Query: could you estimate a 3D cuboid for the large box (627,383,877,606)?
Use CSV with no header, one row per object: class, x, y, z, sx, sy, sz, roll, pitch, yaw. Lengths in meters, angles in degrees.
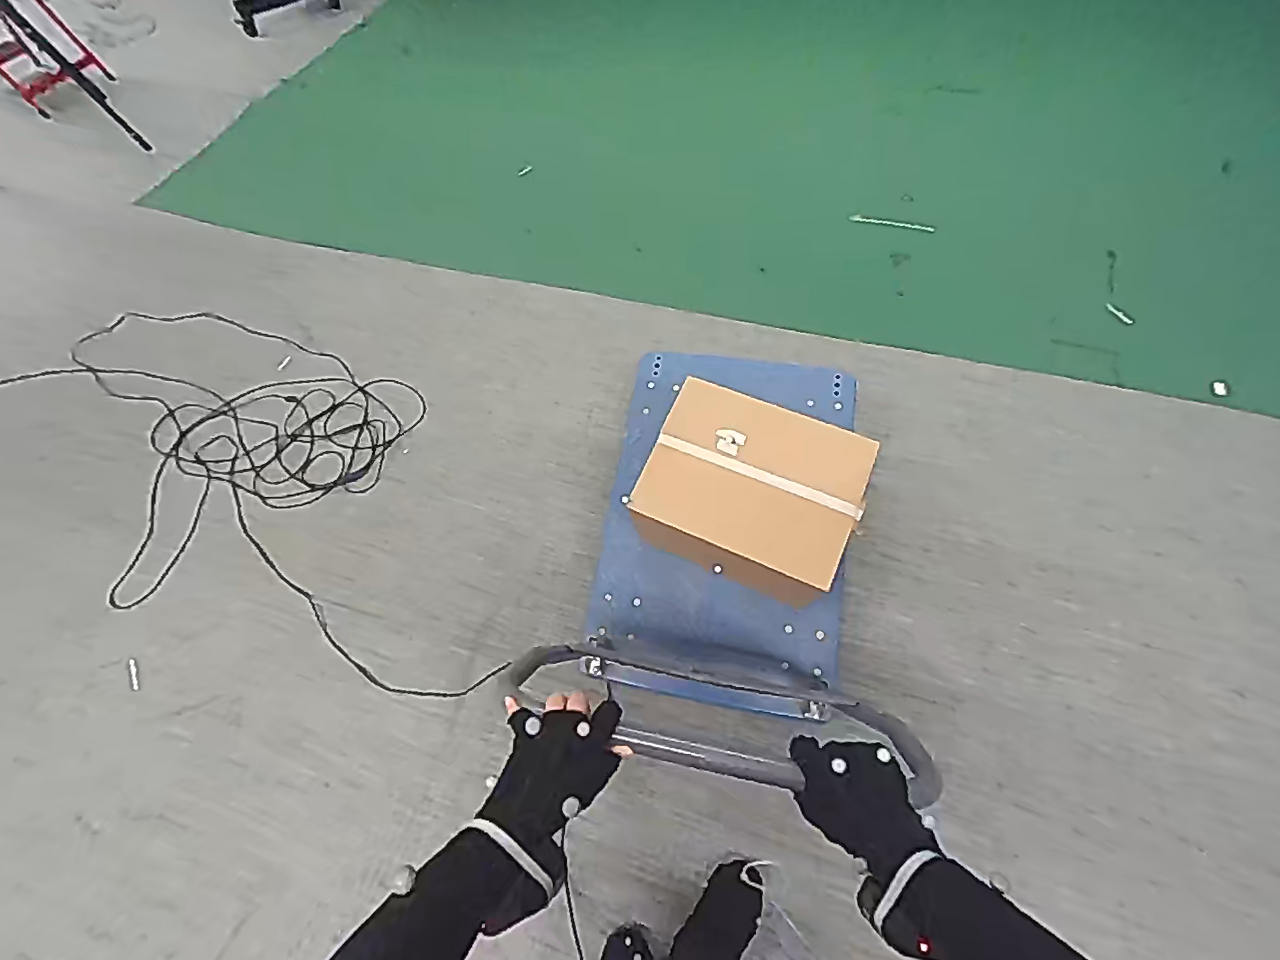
large box,0.234,0.046,1.181,0.408,0.320,0.320,22,75,14
